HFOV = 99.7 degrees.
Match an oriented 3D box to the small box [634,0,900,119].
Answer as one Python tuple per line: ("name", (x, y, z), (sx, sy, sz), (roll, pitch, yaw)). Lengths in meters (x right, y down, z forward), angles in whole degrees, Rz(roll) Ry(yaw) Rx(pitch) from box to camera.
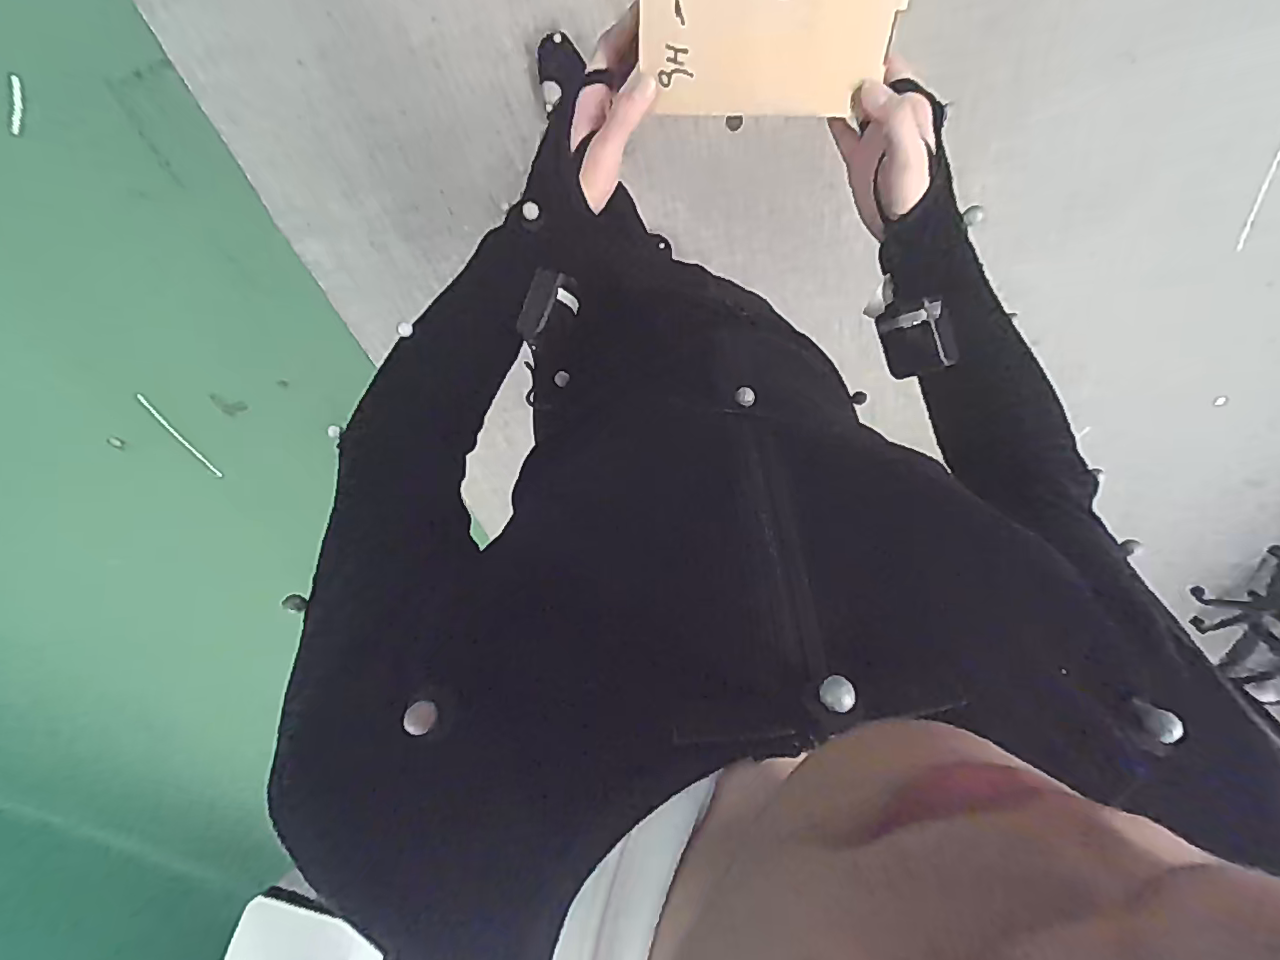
("small box", (0.087, -0.384, 0.409), (0.179, 0.176, 0.168), (2, 128, -2))

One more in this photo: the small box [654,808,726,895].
("small box", (0.147, 1.098, 1.605), (0.179, 0.176, 0.168), (-11, 130, 1))

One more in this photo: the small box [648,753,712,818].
("small box", (0.129, 0.996, 1.730), (0.179, 0.176, 0.168), (-10, 131, 1))
